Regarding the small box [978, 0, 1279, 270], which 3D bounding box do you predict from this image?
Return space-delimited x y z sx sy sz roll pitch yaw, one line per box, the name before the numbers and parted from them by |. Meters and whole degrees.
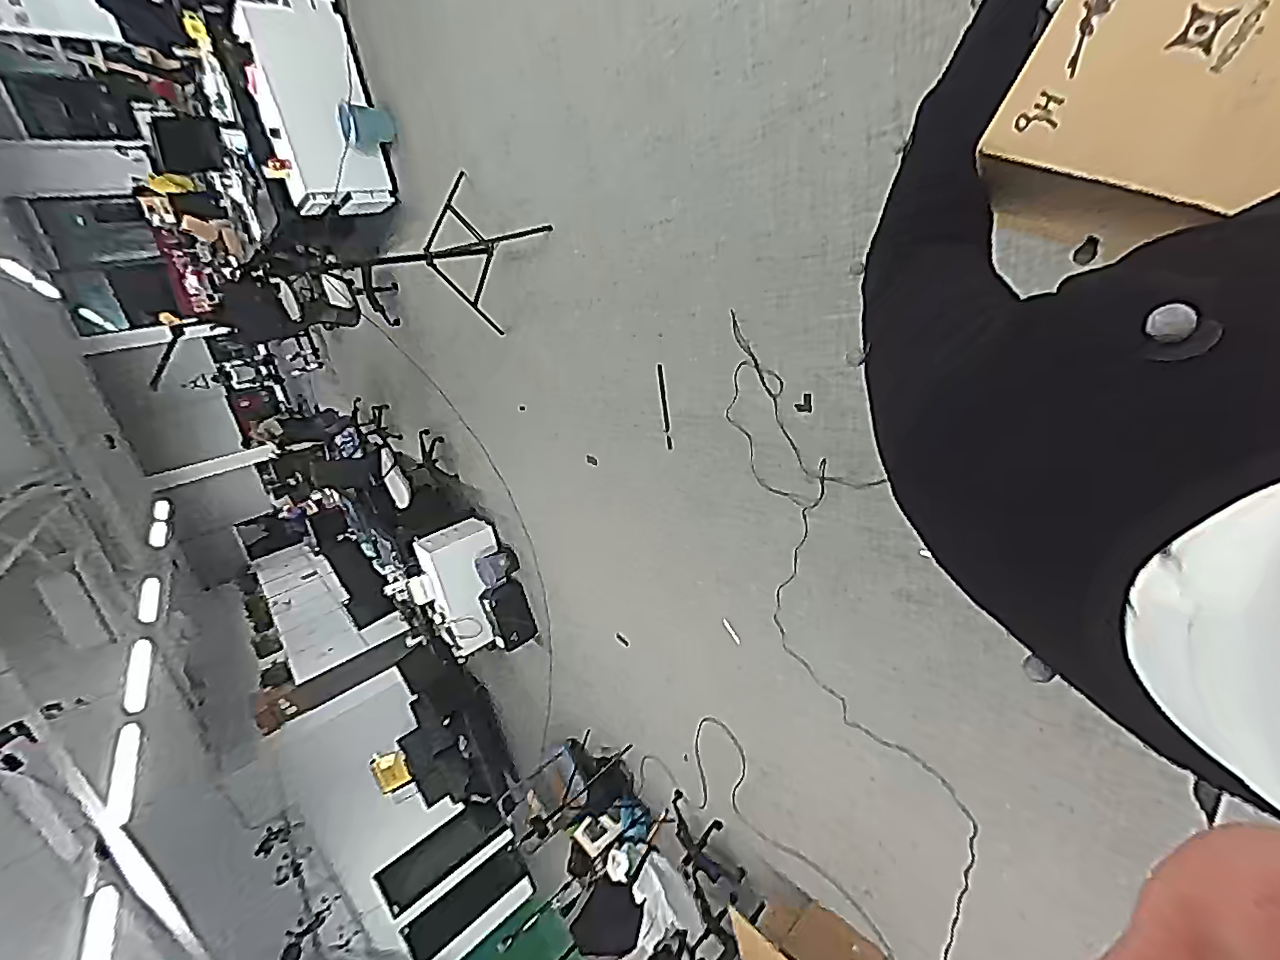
small box | 0.375 -0.263 0.375 0.179 0.176 0.168 36 114 26
